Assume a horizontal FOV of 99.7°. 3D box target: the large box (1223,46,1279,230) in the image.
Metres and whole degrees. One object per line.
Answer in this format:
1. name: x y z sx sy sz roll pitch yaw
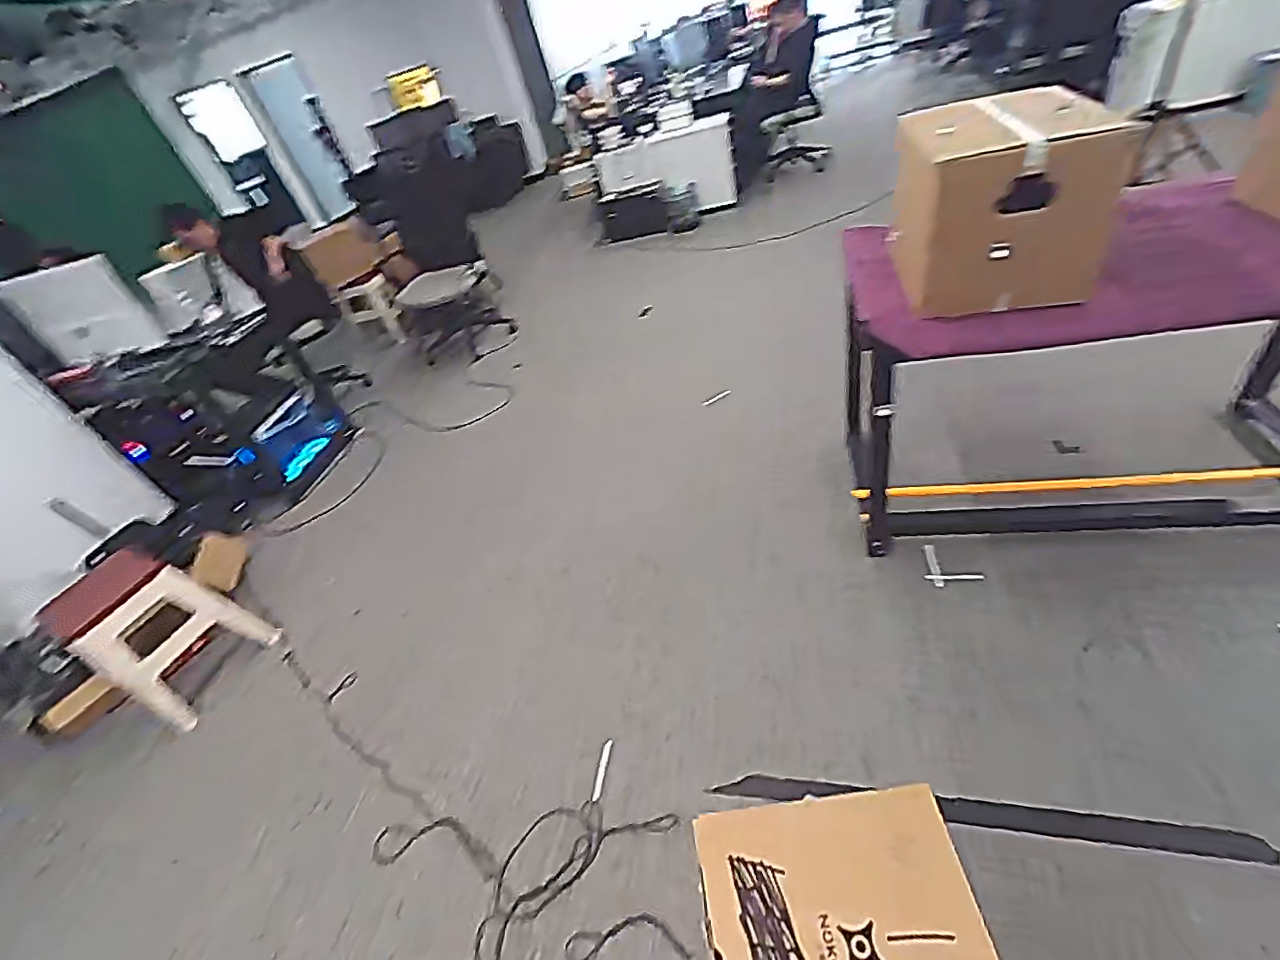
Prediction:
1. large box: 1.401 -0.626 0.957 0.320 0.320 0.408 -4 40 16

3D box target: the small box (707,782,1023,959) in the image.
1. small box: 0.154 0.339 0.392 0.179 0.176 0.168 -10 48 5
